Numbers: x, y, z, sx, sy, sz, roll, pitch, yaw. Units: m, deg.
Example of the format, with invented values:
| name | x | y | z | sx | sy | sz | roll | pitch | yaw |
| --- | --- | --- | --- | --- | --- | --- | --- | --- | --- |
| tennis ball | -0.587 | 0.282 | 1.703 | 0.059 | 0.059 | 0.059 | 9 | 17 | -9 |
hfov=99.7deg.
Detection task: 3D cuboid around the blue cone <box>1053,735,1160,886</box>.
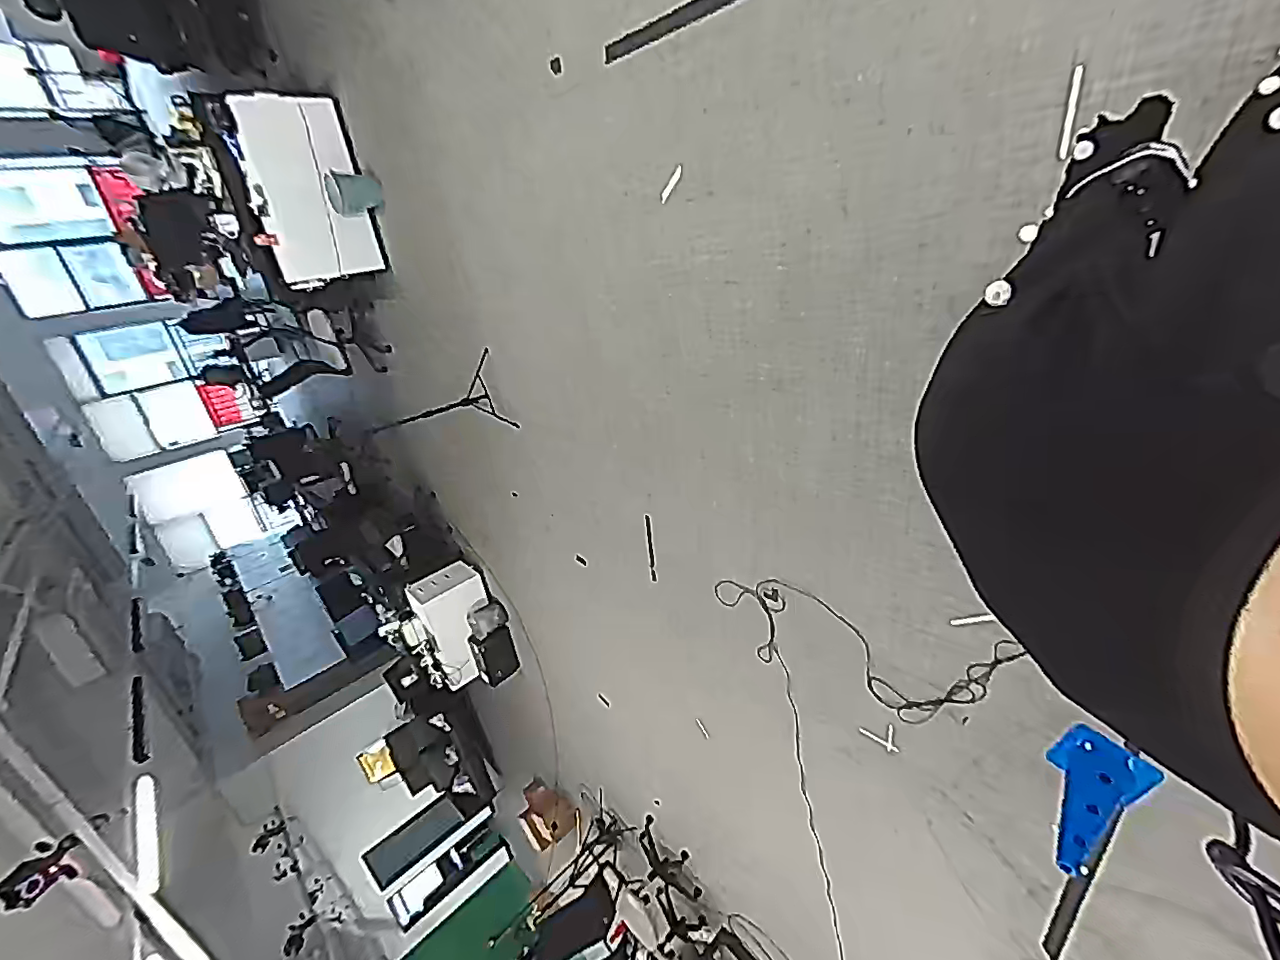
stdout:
| name | x | y | z | sx | sy | sz | roll | pitch | yaw |
| --- | --- | --- | --- | --- | --- | --- | --- | --- | --- |
| blue cone | 1.143 | 0.858 | 1.377 | 0.192 | 0.380 | 0.193 | 34 | 136 | 32 |
